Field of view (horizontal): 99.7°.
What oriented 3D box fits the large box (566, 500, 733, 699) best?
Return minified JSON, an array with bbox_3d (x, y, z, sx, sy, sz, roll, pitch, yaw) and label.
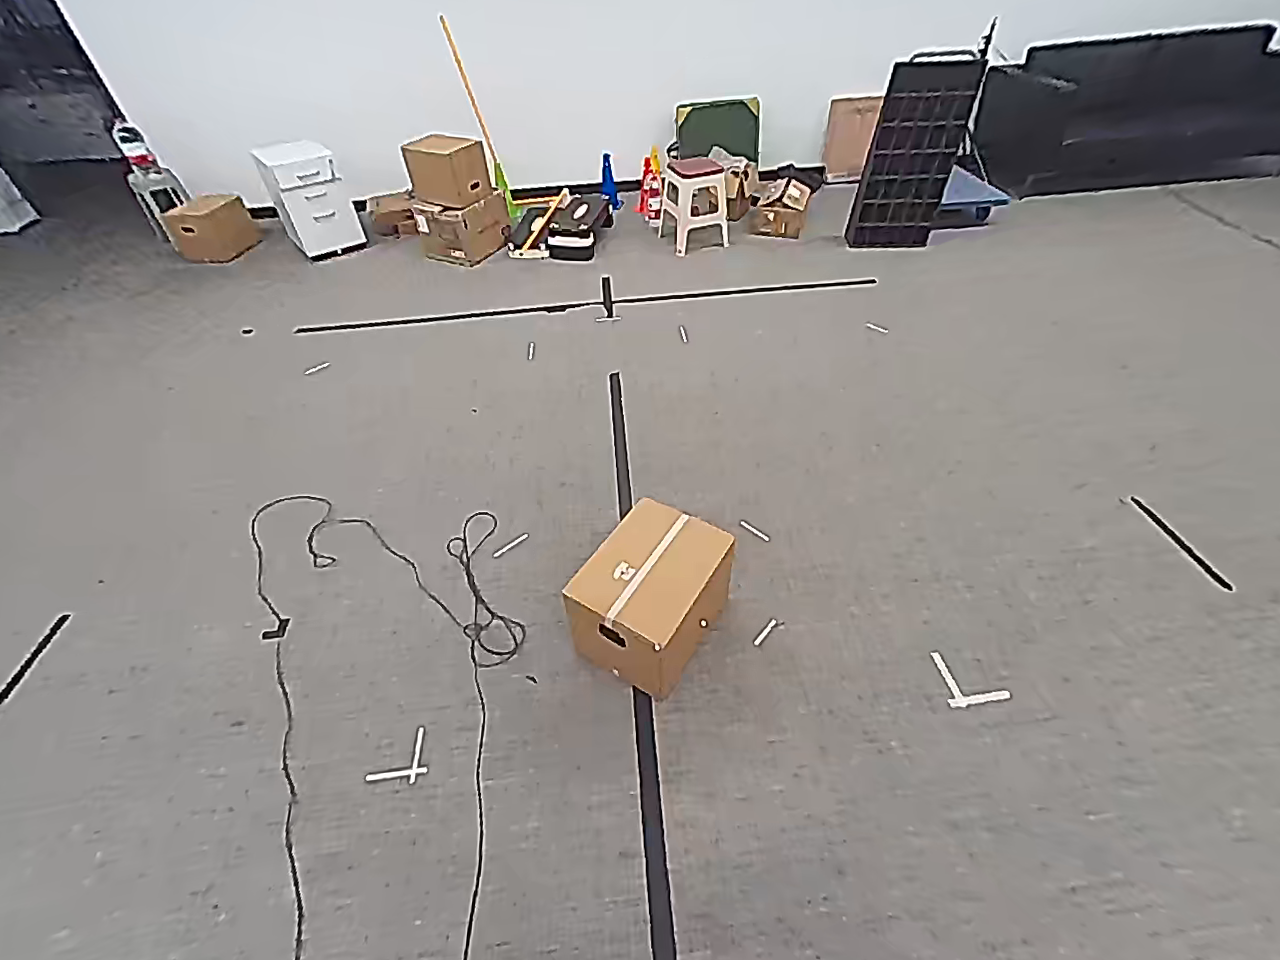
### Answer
[{"bbox_3d":[0.039,0.339,1.577,0.320,0.320,0.408,22,51,24],"label":"large box"}]
